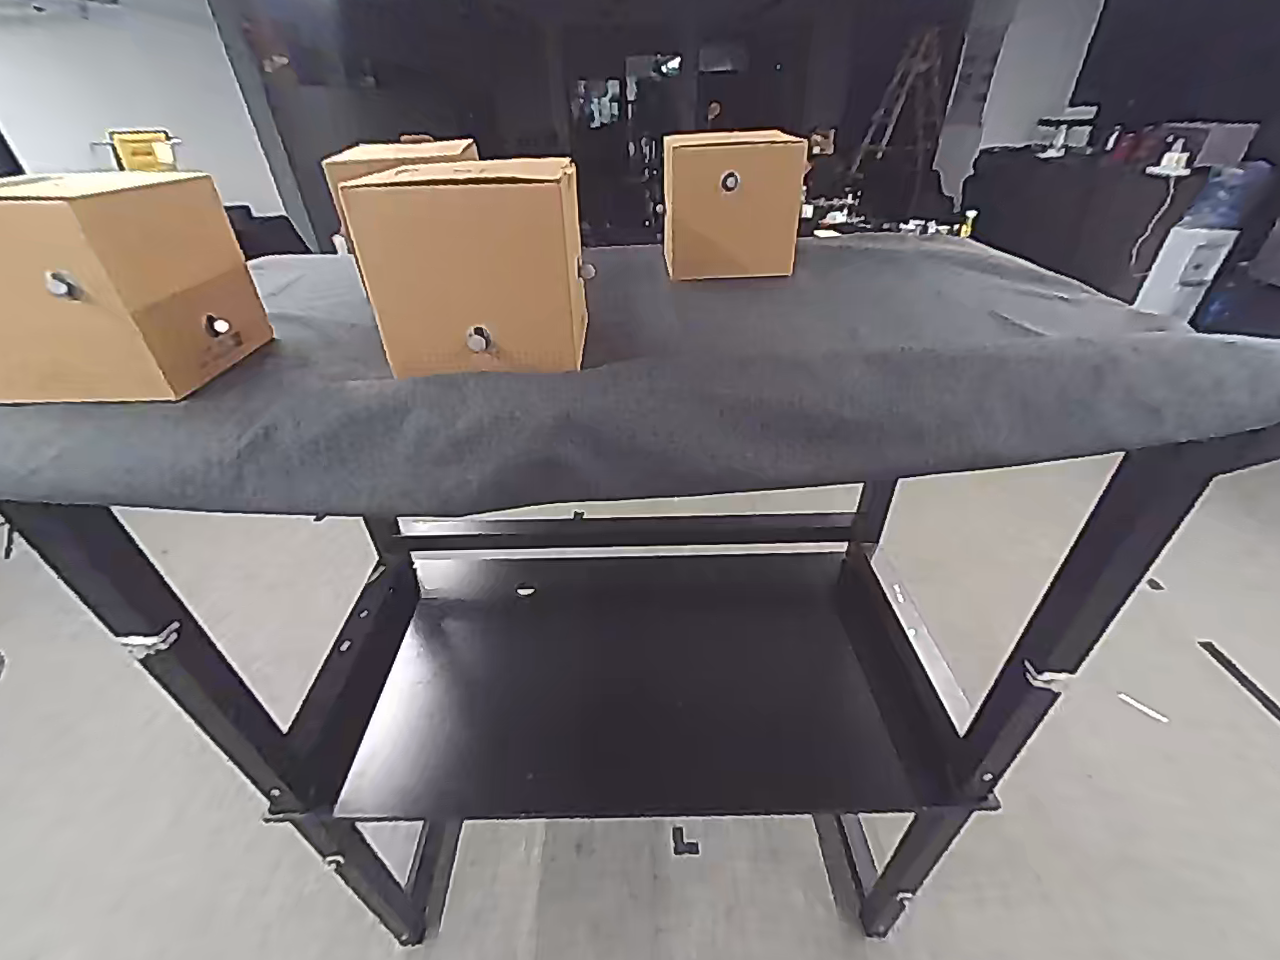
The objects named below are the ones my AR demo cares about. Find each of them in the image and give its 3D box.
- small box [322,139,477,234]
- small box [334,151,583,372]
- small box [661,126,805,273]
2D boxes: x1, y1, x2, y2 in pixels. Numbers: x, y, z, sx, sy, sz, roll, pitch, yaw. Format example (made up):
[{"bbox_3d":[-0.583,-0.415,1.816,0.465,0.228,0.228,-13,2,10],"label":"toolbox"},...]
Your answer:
[{"bbox_3d":[-0.309,-0.377,0.765,0.168,0.176,0.179,-7,36,-5],"label":"small box"},{"bbox_3d":[-0.149,-0.213,0.524,0.179,0.176,0.168,-2,34,-1],"label":"small box"},{"bbox_3d":[0.124,-0.406,0.782,0.179,0.176,0.168,-2,36,0],"label":"small box"}]
